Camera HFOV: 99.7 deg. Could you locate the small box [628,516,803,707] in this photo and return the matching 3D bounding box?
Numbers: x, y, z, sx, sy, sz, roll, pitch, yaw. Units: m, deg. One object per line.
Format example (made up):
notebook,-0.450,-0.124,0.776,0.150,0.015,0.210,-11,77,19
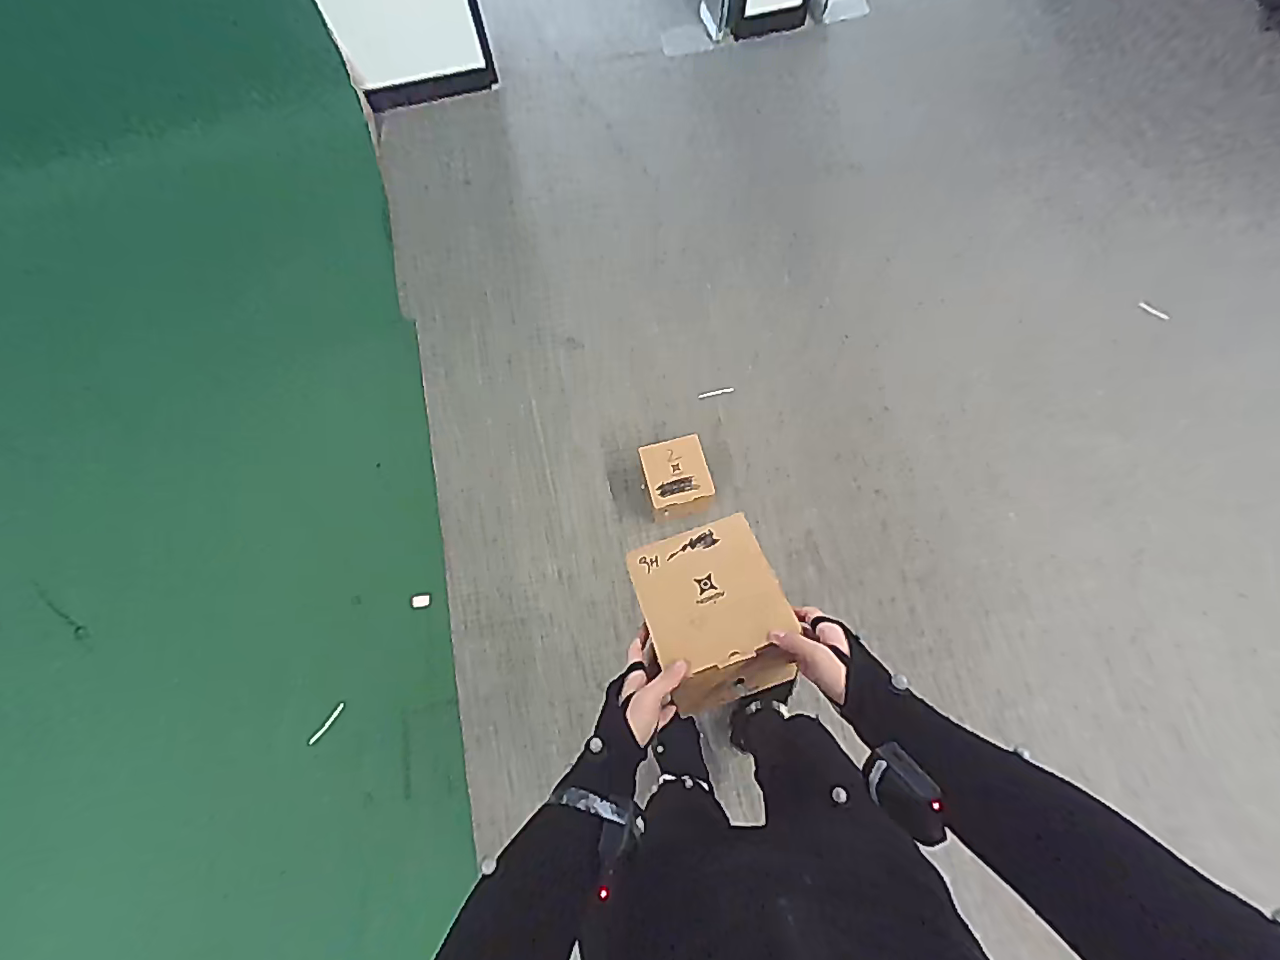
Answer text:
small box,0.097,0.182,0.713,0.168,0.176,0.179,-19,54,-3
